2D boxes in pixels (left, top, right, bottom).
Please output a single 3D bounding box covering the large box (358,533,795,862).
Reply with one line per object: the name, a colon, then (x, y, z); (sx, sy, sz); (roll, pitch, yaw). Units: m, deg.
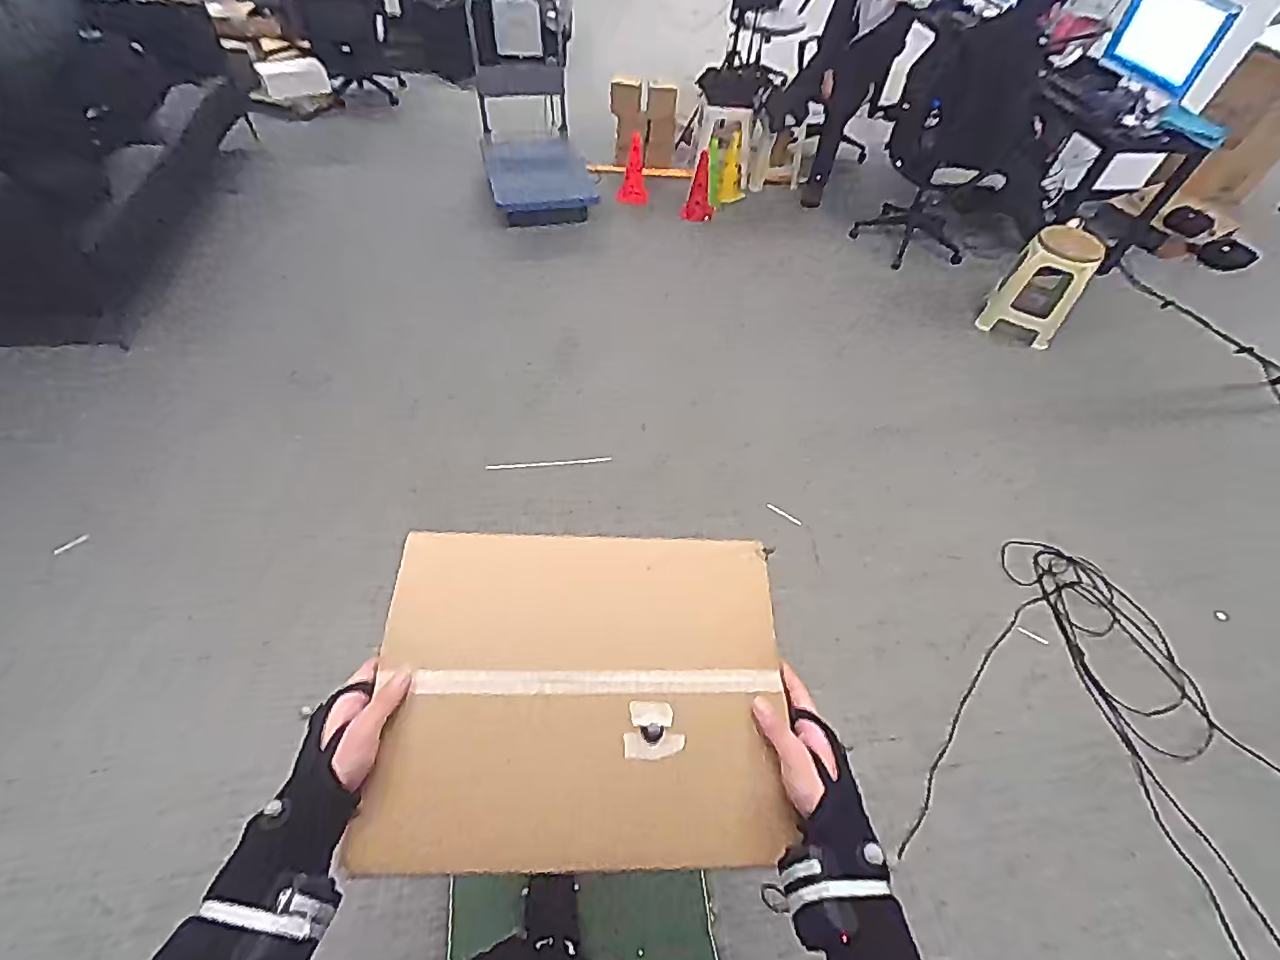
large box: (-0.069, 0.272, 0.687); (0.408, 0.320, 0.320); (2, 61, -5)
